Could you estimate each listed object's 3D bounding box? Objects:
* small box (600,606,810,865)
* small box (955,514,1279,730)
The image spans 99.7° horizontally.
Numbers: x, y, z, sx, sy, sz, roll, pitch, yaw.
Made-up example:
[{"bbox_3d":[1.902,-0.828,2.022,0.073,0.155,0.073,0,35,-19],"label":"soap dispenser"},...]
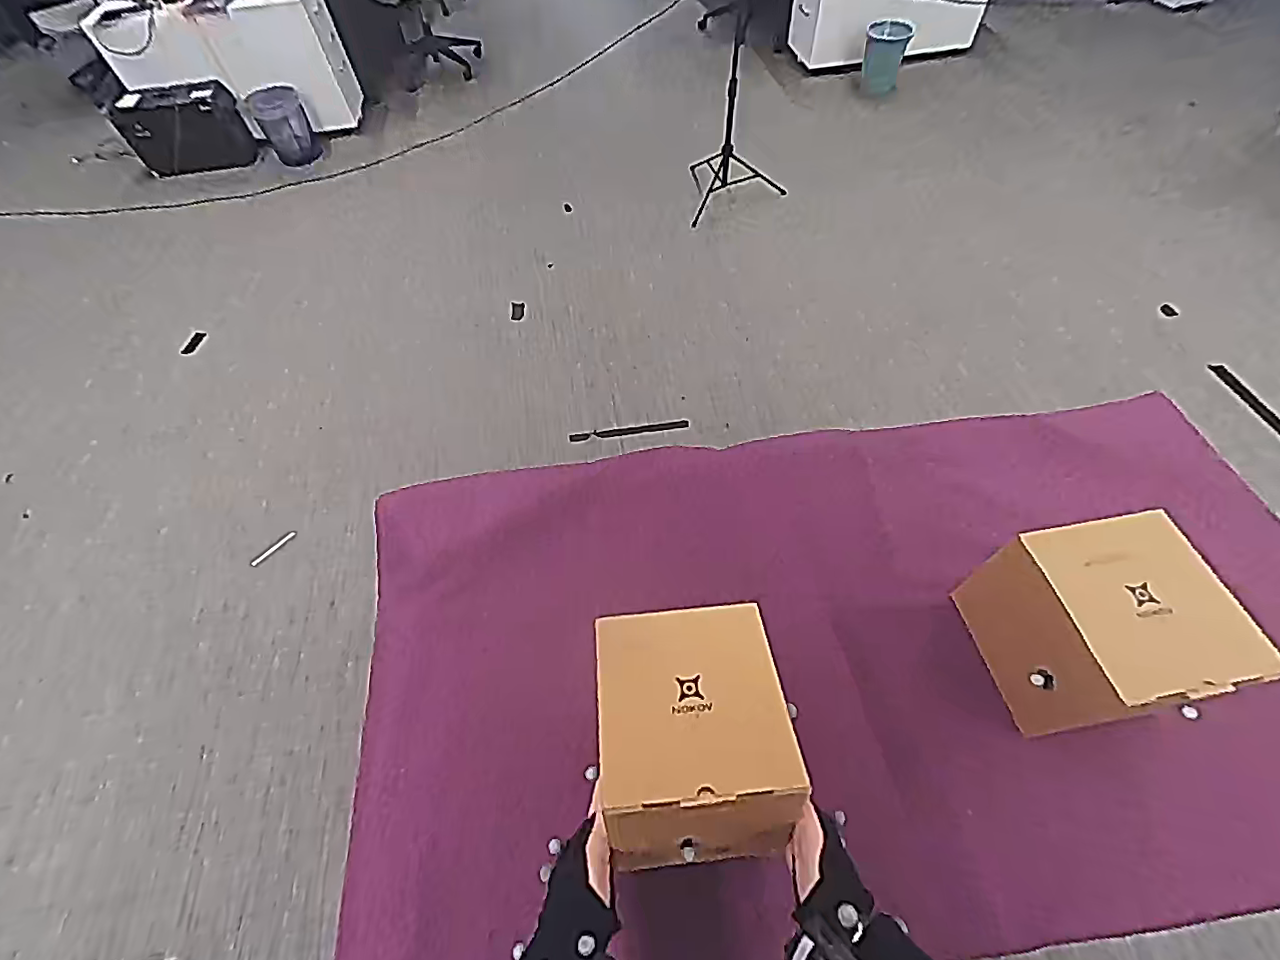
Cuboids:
[{"bbox_3d":[0.048,0.250,0.535,0.168,0.176,0.179,-5,43,-3],"label":"small box"},{"bbox_3d":[0.490,0.163,0.589,0.168,0.176,0.179,-9,56,-3],"label":"small box"}]
